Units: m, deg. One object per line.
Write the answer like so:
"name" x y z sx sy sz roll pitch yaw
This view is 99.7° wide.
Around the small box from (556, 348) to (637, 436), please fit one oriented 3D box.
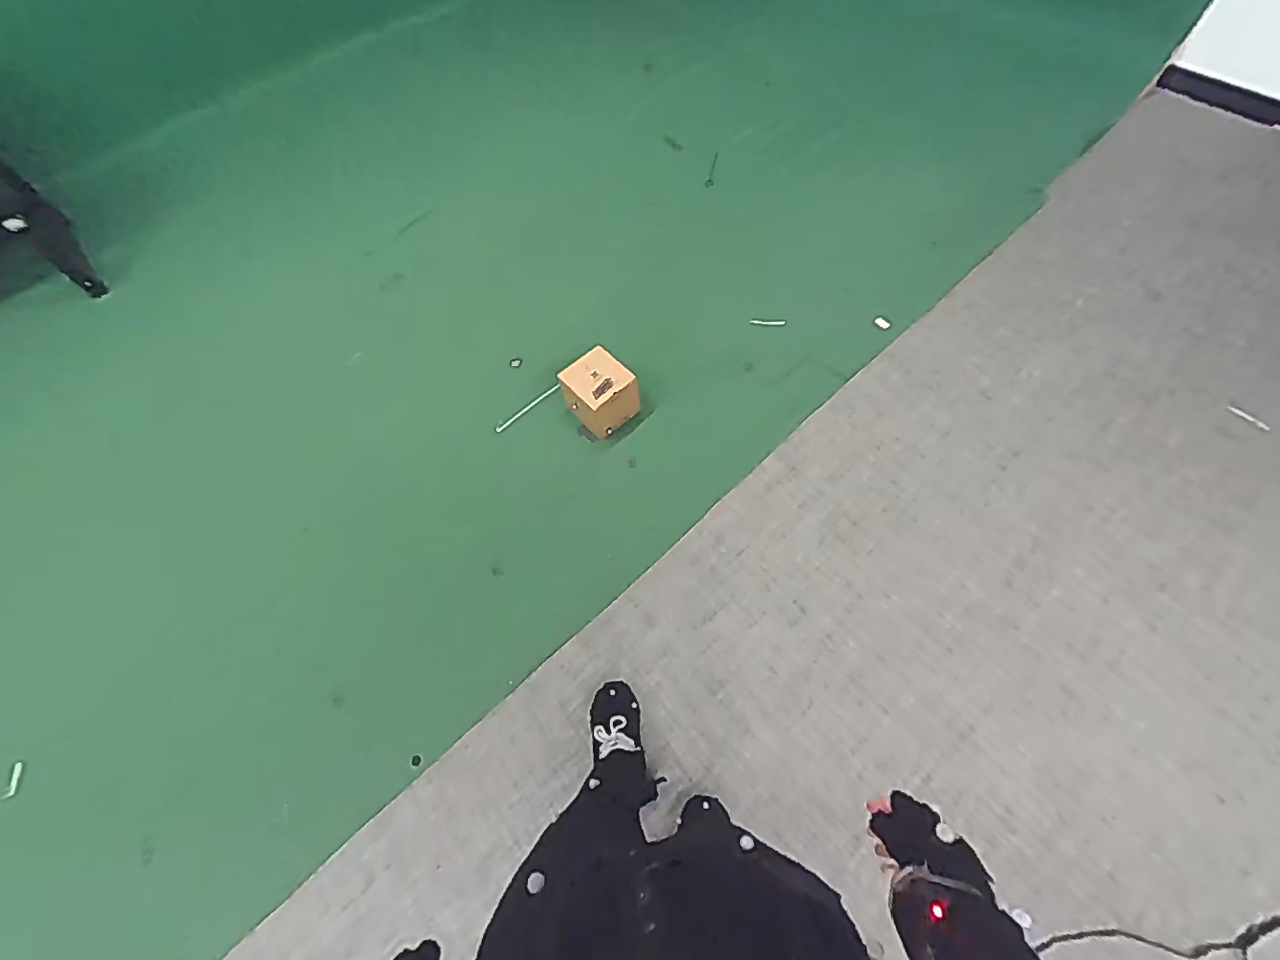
"small box" -0.124 -0.257 1.640 0.168 0.176 0.179 -40 67 -15
